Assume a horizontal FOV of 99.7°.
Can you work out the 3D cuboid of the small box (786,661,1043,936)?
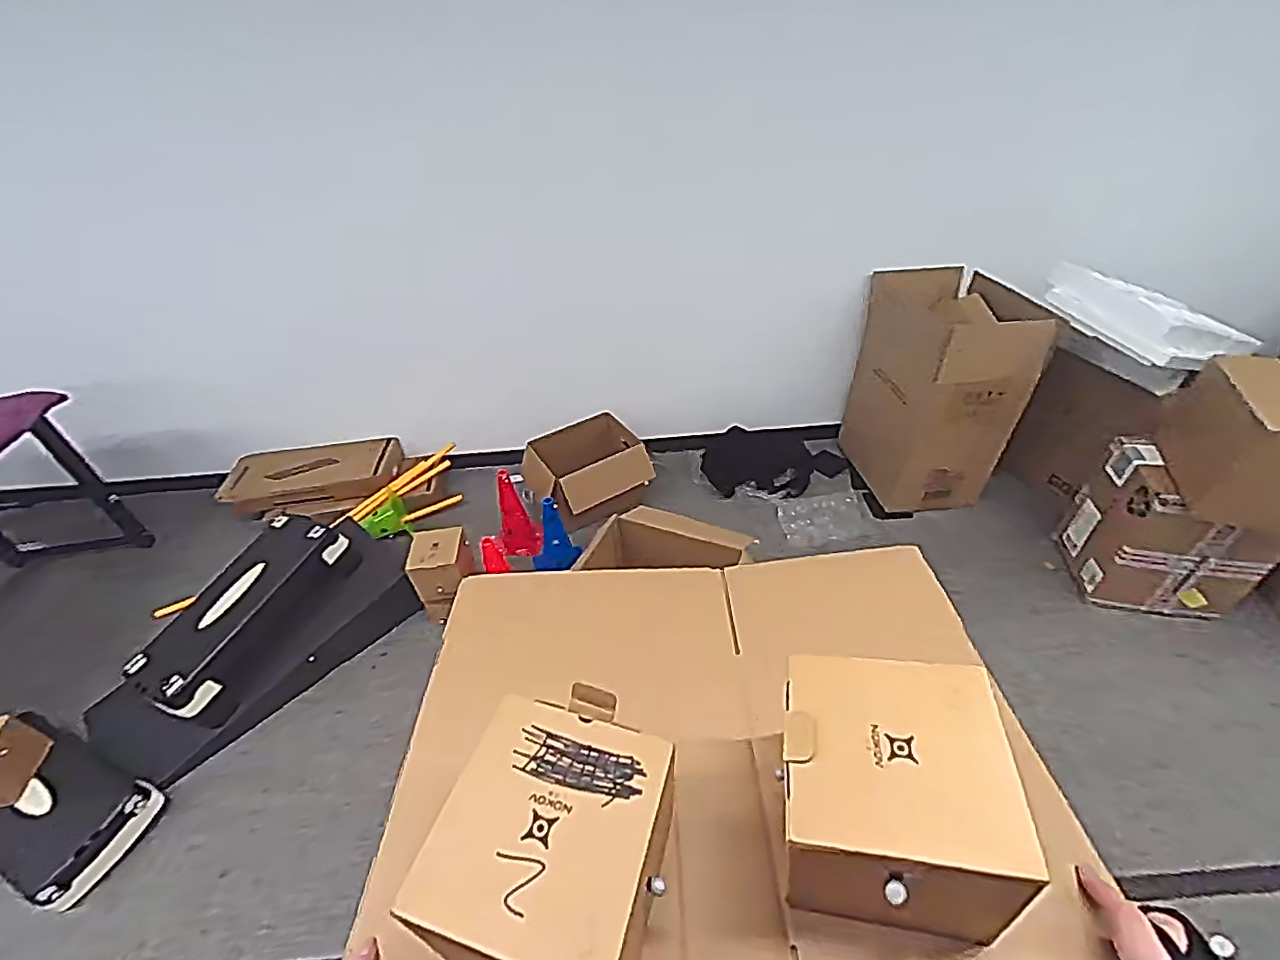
[{"bbox_3d":[0.228,0.294,0.506,0.179,0.176,0.168,-1,39,16],"label":"small box"}]
